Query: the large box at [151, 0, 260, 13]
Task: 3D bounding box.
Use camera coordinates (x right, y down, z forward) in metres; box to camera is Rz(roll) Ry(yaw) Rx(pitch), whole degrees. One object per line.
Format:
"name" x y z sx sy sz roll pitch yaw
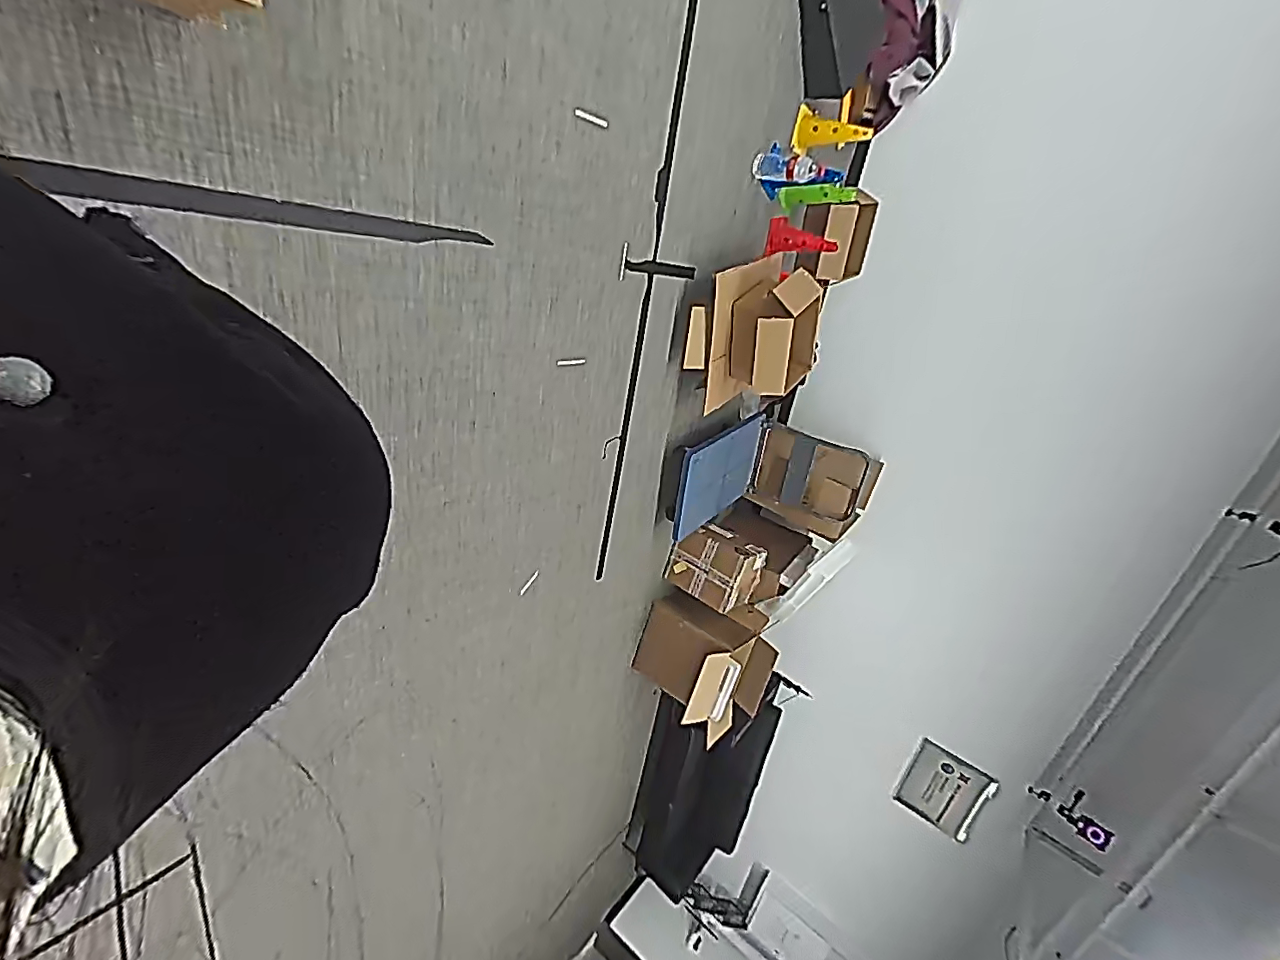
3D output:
"large box" -0.789 -0.888 0.698 0.408 0.320 0.320 -18 127 -52
